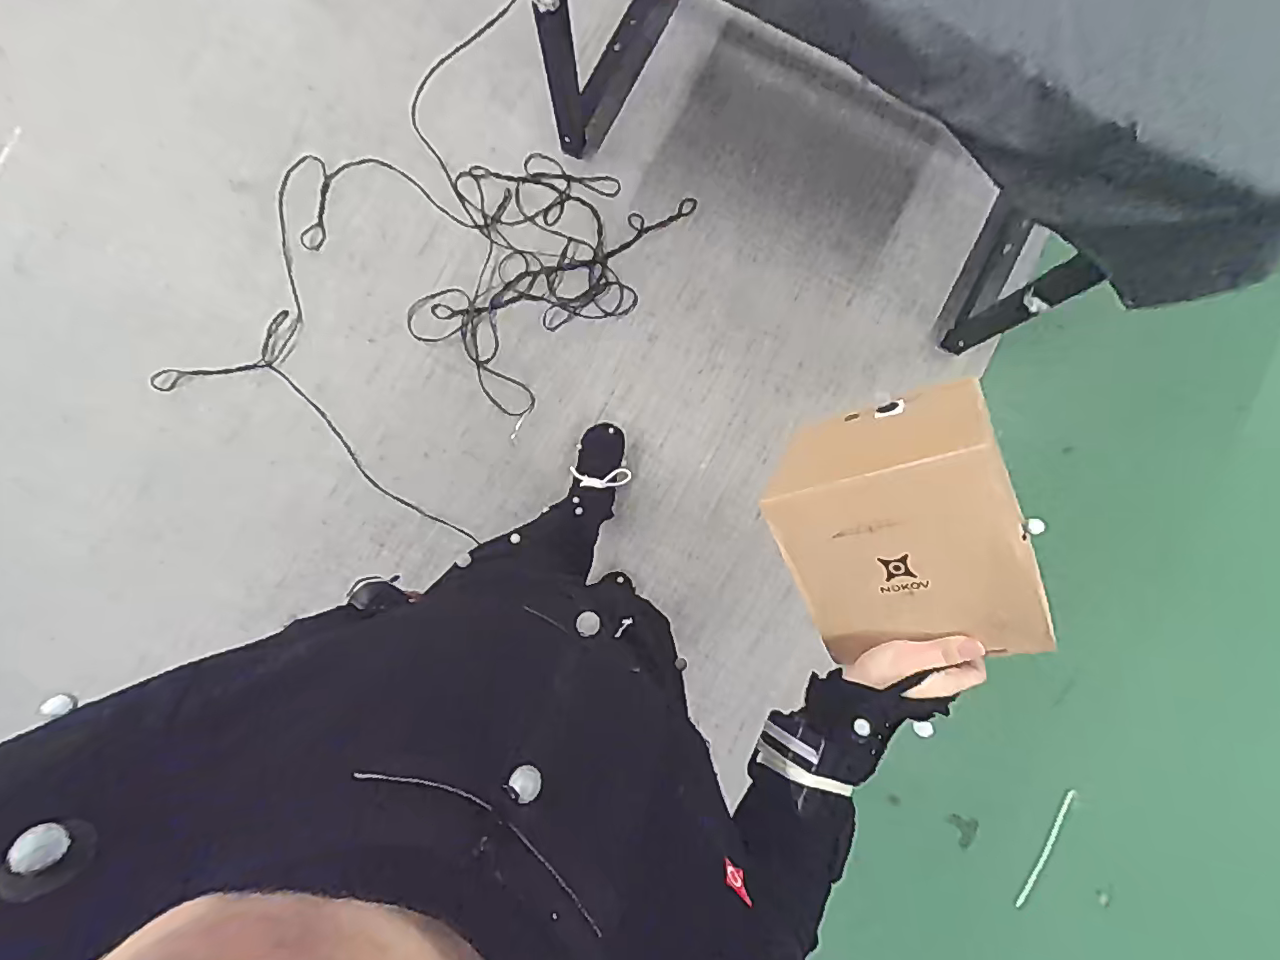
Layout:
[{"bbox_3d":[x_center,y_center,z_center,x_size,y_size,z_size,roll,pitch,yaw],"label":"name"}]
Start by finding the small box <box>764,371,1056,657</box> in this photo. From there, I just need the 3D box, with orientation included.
[{"bbox_3d":[0.236,0.028,0.481,0.168,0.176,0.179,-19,106,33],"label":"small box"}]
